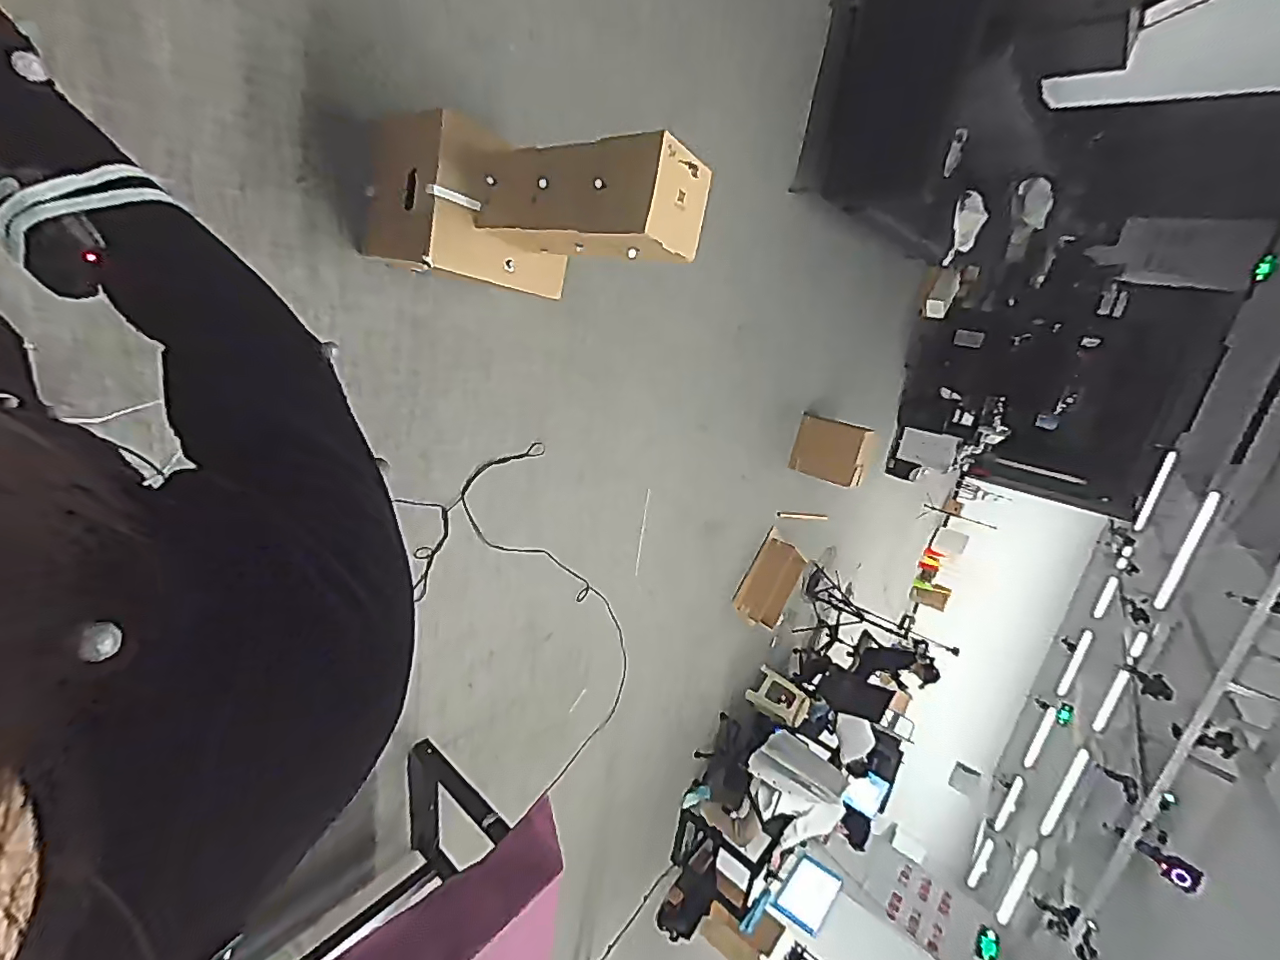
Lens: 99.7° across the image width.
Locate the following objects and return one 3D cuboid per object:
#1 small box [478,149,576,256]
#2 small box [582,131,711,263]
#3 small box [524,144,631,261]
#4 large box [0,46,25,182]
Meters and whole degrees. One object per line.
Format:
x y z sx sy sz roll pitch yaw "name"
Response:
-0.242 -0.631 1.243 0.179 0.176 0.168 0 106 -52 "small box"
0.009 -0.540 1.052 0.168 0.176 0.179 0 106 -53 "small box"
-0.116 -0.582 1.150 0.179 0.176 0.168 2 104 -52 "small box"
-1.024 -0.616 0.647 0.320 0.320 0.408 -15 118 -49 "large box"
